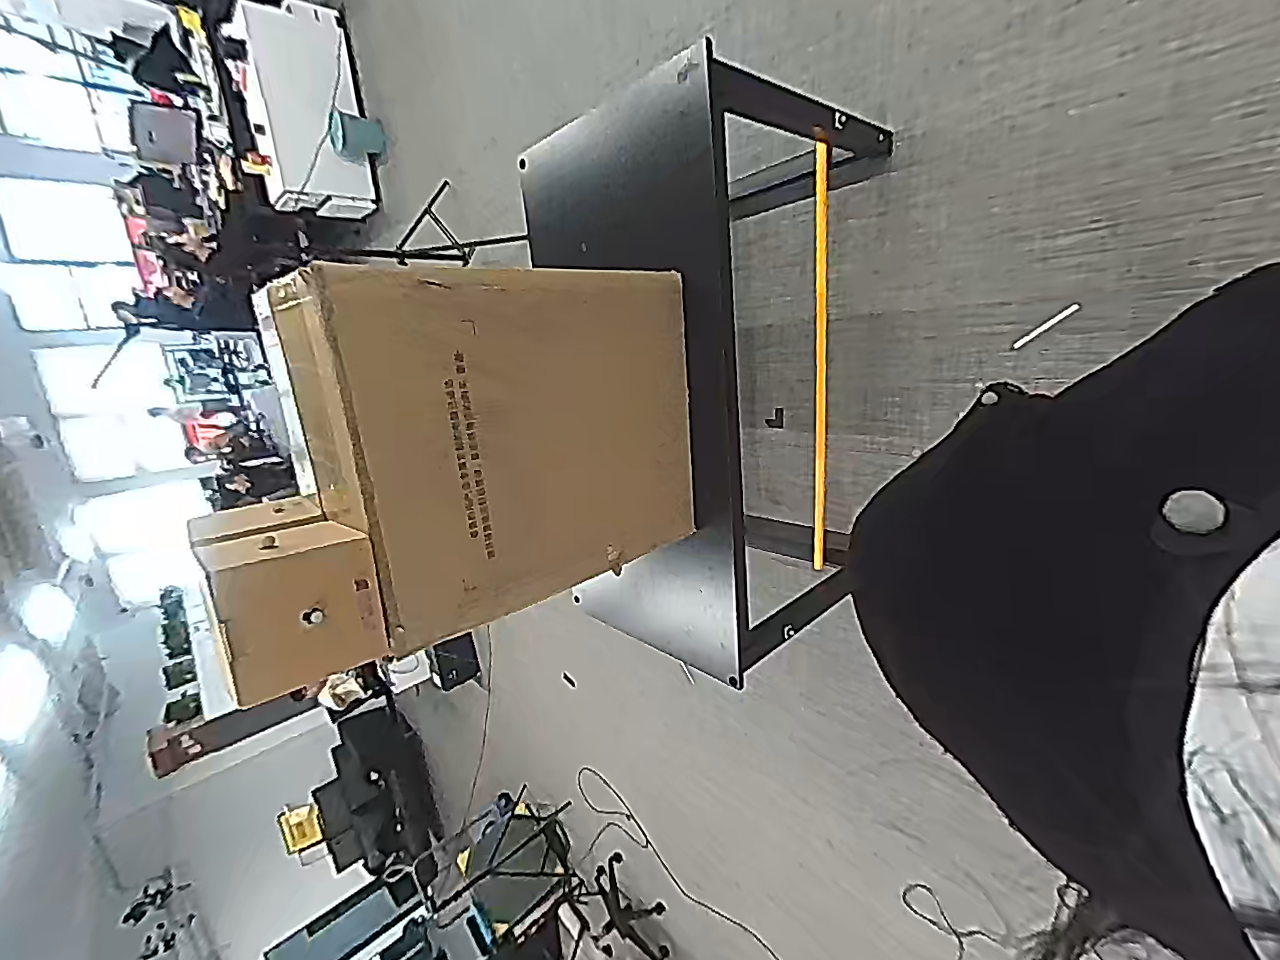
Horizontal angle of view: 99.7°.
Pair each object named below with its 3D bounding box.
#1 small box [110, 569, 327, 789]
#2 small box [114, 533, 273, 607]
[{"bbox_3d":[-0.495,0.216,0.647,0.179,0.176,0.168,3,103,45],"label":"small box"},{"bbox_3d":[-0.633,0.197,0.800,0.168,0.176,0.179,13,112,48],"label":"small box"}]
